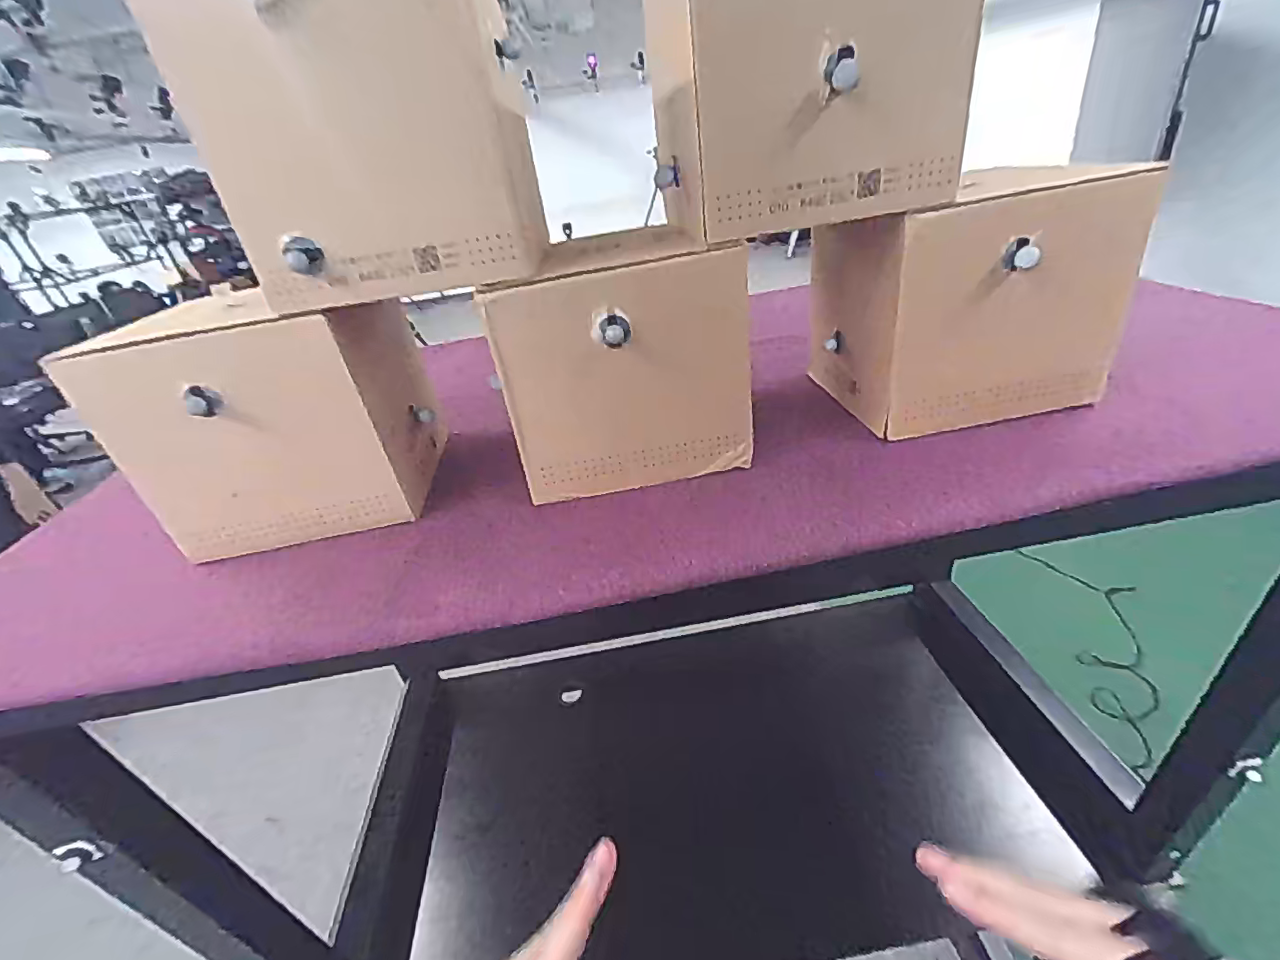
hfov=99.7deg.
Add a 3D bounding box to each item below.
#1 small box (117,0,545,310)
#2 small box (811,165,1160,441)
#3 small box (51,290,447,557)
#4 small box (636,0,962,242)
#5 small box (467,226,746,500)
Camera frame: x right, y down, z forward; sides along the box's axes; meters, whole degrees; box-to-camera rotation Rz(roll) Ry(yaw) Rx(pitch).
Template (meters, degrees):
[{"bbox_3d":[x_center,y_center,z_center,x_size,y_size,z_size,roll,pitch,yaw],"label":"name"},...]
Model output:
[{"bbox_3d":[-0.167,-0.223,0.370,0.168,0.176,0.179,-9,31,0],"label":"small box"},{"bbox_3d":[0.254,-0.152,0.454,0.179,0.176,0.168,-11,31,0],"label":"small box"},{"bbox_3d":[-0.284,-0.057,0.449,0.179,0.176,0.168,-11,33,-3],"label":"small box"},{"bbox_3d":[0.097,-0.269,0.373,0.168,0.176,0.179,-10,32,-1],"label":"small box"},{"bbox_3d":[-0.019,-0.099,0.446,0.179,0.176,0.168,-10,32,-1],"label":"small box"}]
